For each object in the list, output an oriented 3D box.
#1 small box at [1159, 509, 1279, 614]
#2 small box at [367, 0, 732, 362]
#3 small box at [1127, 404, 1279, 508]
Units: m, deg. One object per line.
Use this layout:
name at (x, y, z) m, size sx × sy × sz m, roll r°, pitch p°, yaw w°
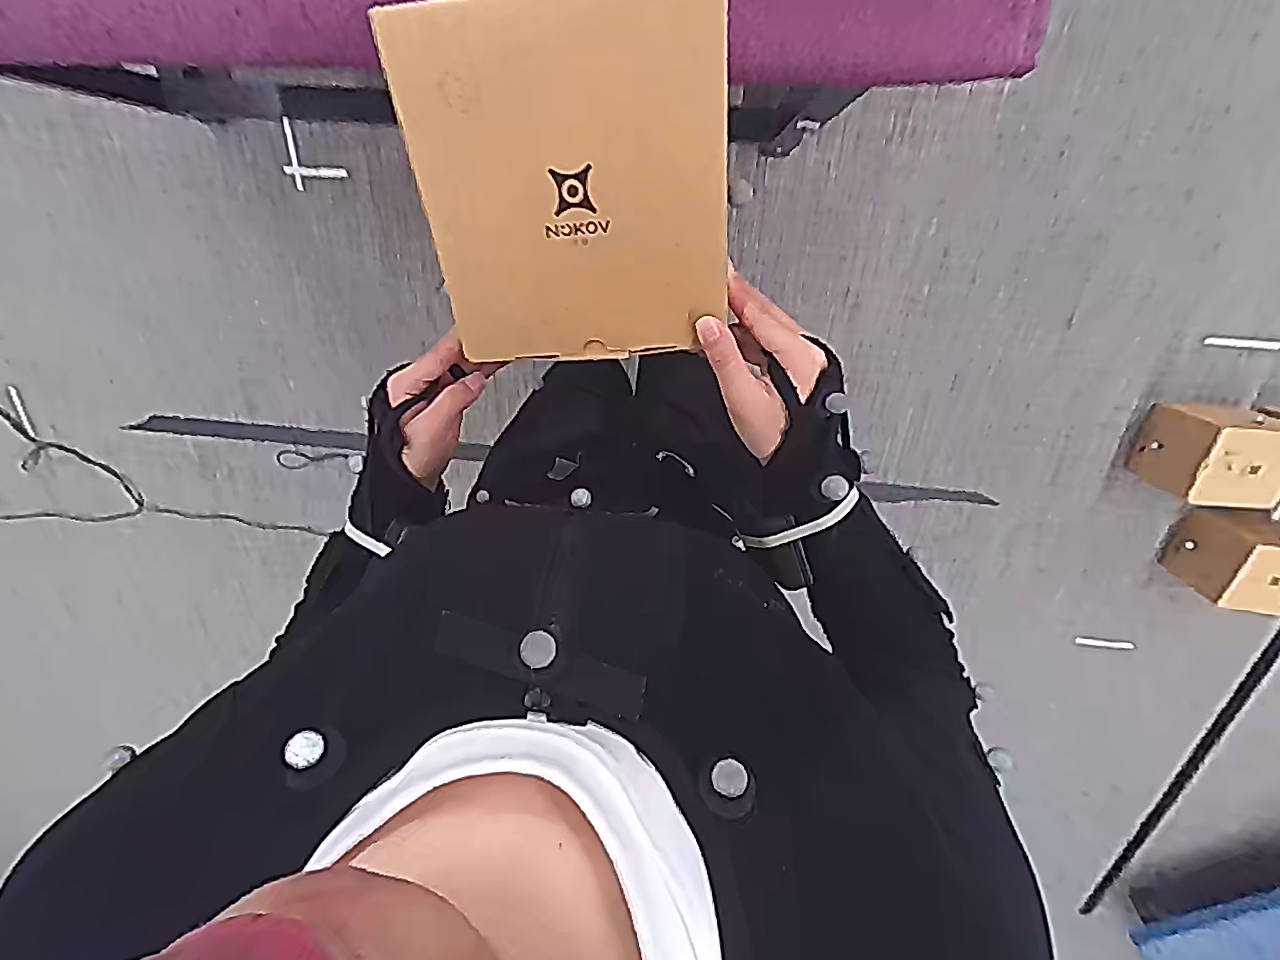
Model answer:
small box at (1.371, 0.181, 1.233) m, size 0.179 × 0.176 × 0.168 m, roll 7°, pitch 116°, yaw 2°
small box at (-0.032, -0.193, 0.347) m, size 0.168 × 0.176 × 0.179 m, roll -3°, pitch 125°, yaw 6°
small box at (1.200, -0.056, 1.134) m, size 0.179 × 0.176 × 0.168 m, roll 4°, pitch 115°, yaw 3°
